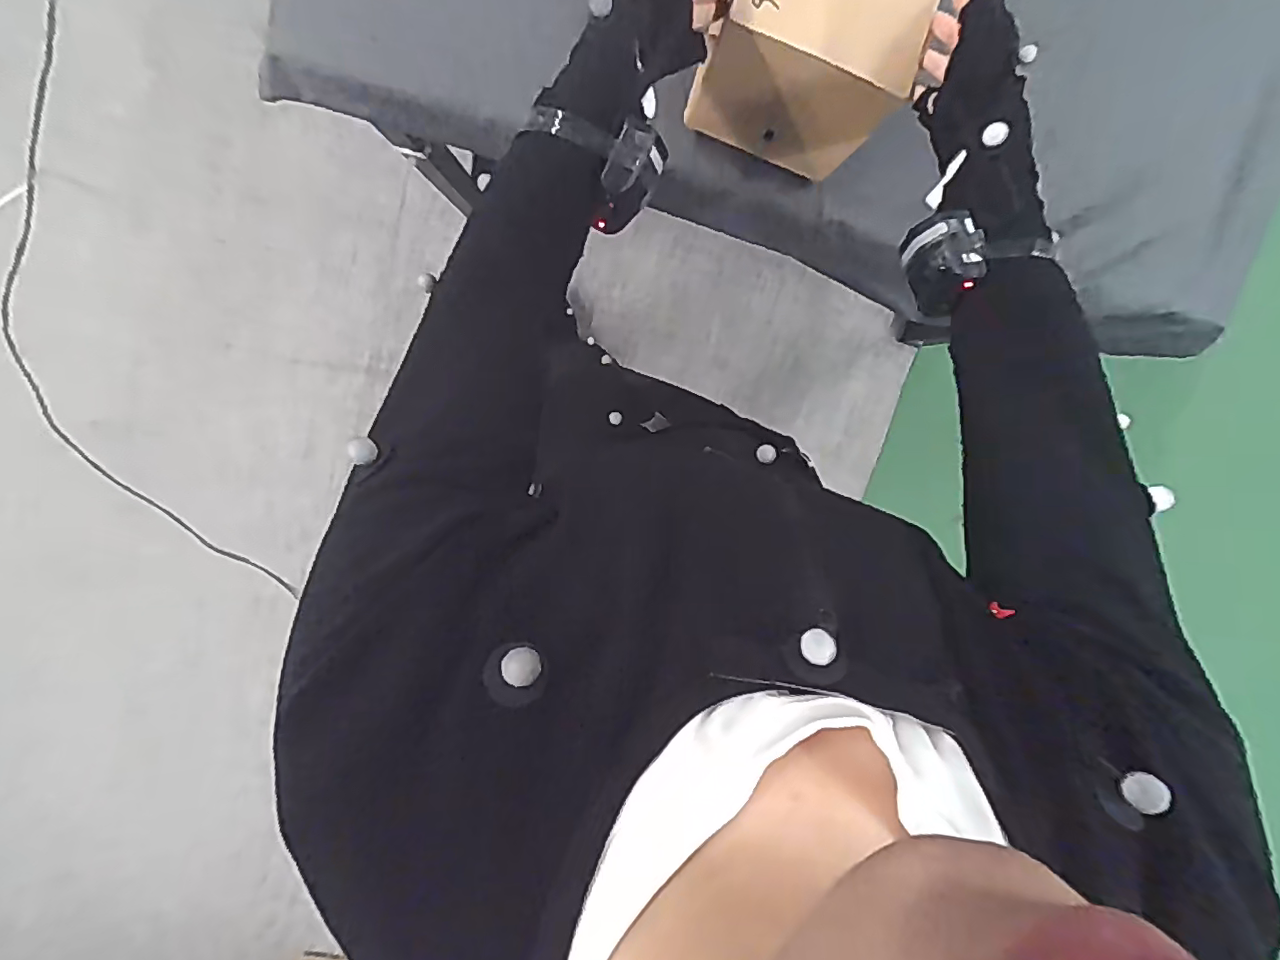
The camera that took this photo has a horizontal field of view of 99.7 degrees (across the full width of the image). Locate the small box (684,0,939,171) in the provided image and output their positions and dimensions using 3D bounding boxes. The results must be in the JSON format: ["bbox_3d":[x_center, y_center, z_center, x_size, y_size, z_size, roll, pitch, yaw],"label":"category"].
[{"bbox_3d":[0.164,-0.443,0.538,0.179,0.176,0.168,16,94,-11],"label":"small box"}]
